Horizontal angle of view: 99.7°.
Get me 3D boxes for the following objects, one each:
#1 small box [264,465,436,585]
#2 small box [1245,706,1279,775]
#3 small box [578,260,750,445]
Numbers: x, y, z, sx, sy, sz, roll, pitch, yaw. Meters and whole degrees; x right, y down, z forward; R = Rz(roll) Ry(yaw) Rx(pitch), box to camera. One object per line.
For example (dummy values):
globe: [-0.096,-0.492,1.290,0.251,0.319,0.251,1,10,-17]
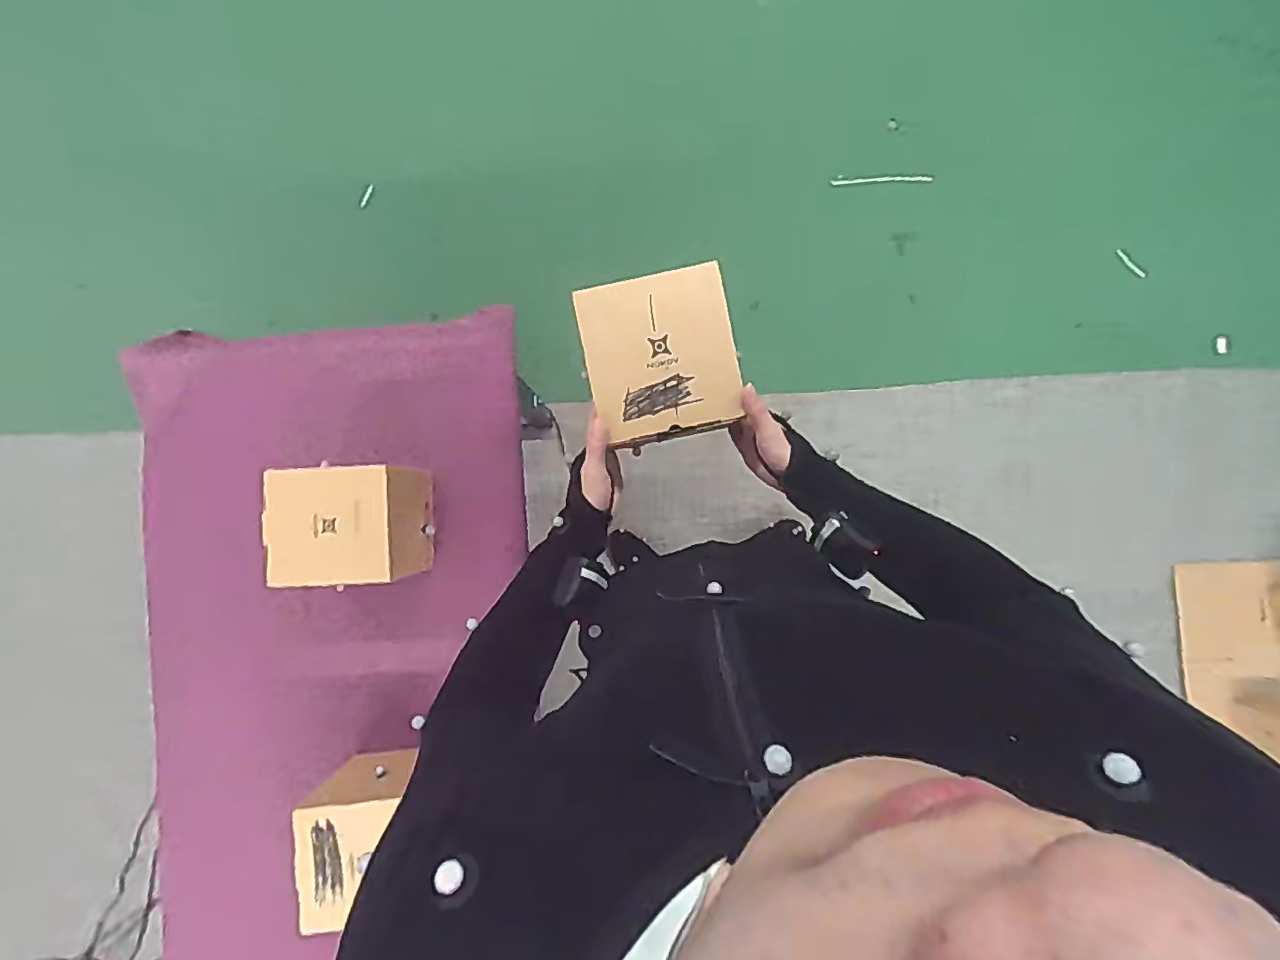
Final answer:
small box: [-0.433,0.066,0.828,0.179,0.176,0.168,-2,89,1]
small box: [1.850,0.740,1.501,0.179,0.176,0.168,1,87,-1]
small box: [0.029,-0.141,0.664,0.168,0.176,0.179,-11,91,2]
